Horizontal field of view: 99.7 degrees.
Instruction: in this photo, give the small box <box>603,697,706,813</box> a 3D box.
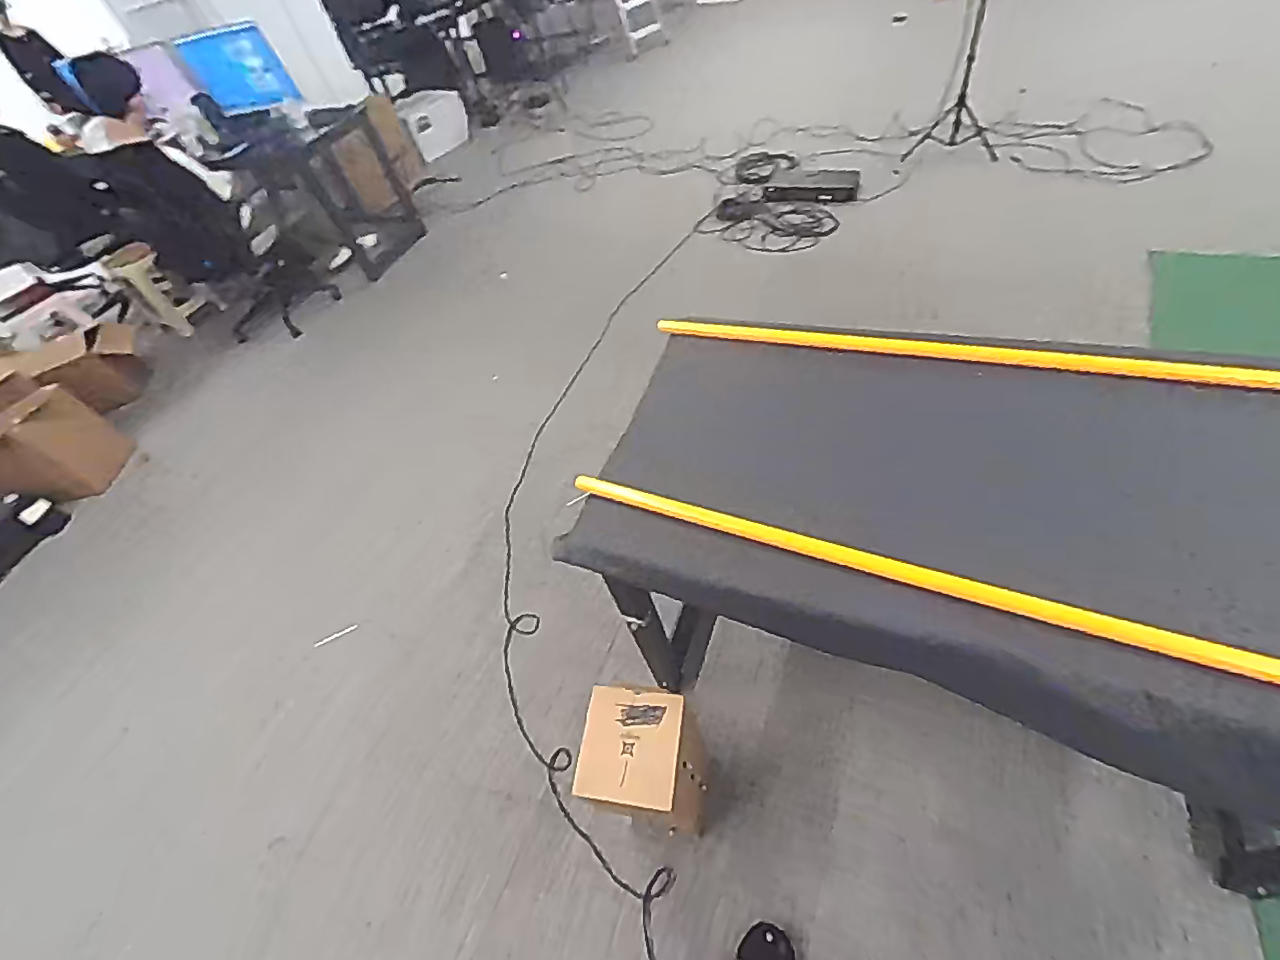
[{"bbox_3d":[0.039,0.560,1.098,0.168,0.176,0.179,-3,51,15],"label":"small box"}]
